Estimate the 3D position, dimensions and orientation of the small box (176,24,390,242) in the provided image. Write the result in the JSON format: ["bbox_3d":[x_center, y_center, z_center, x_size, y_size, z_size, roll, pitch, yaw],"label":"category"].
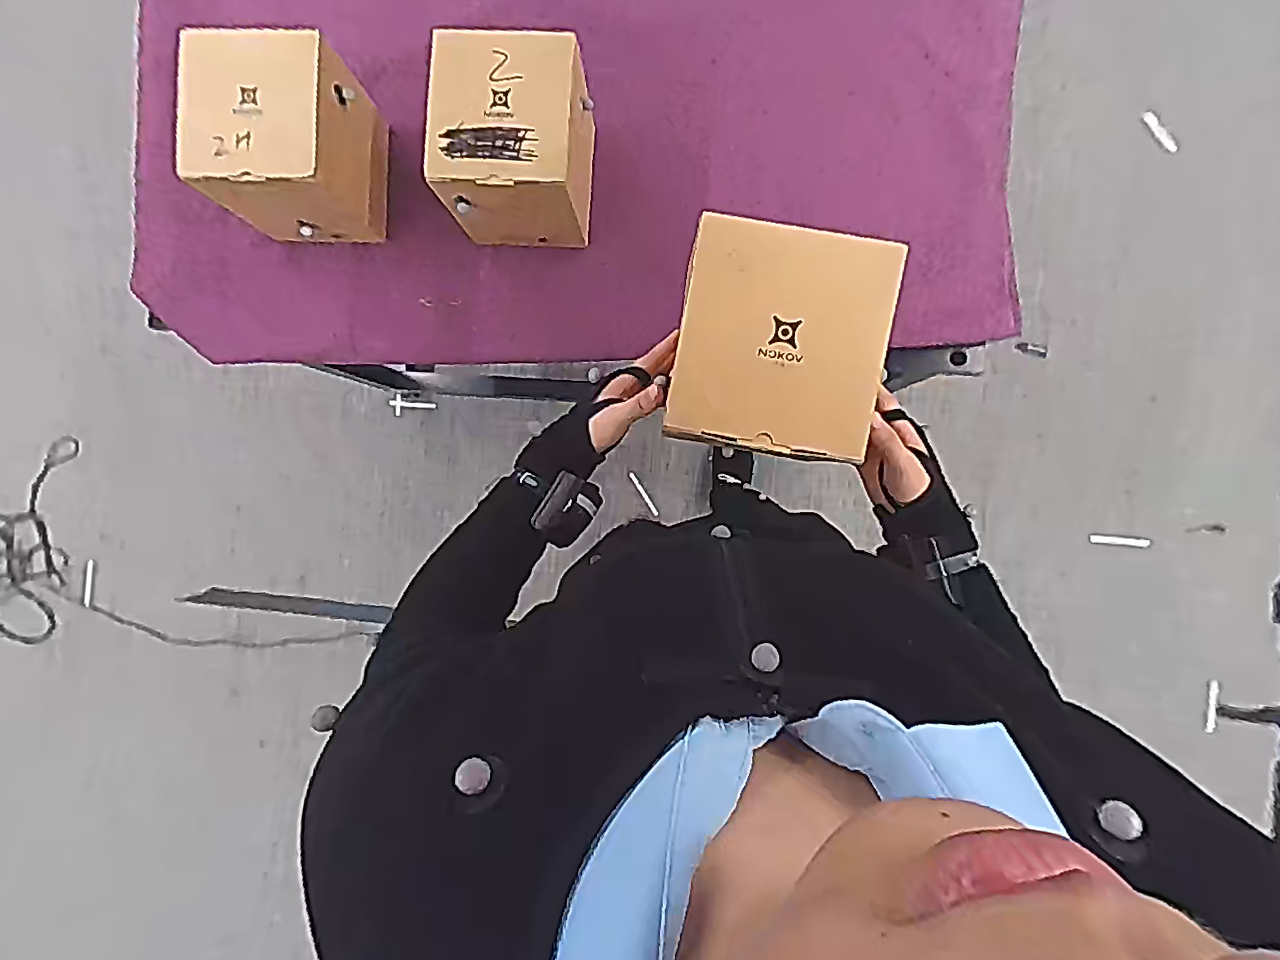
[{"bbox_3d":[-0.442,-0.432,0.696,0.168,0.176,0.179,2,90,2],"label":"small box"}]

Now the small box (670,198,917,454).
[{"bbox_3d":[0.122,-0.124,0.501,0.168,0.176,0.179,10,94,1],"label":"small box"}]
